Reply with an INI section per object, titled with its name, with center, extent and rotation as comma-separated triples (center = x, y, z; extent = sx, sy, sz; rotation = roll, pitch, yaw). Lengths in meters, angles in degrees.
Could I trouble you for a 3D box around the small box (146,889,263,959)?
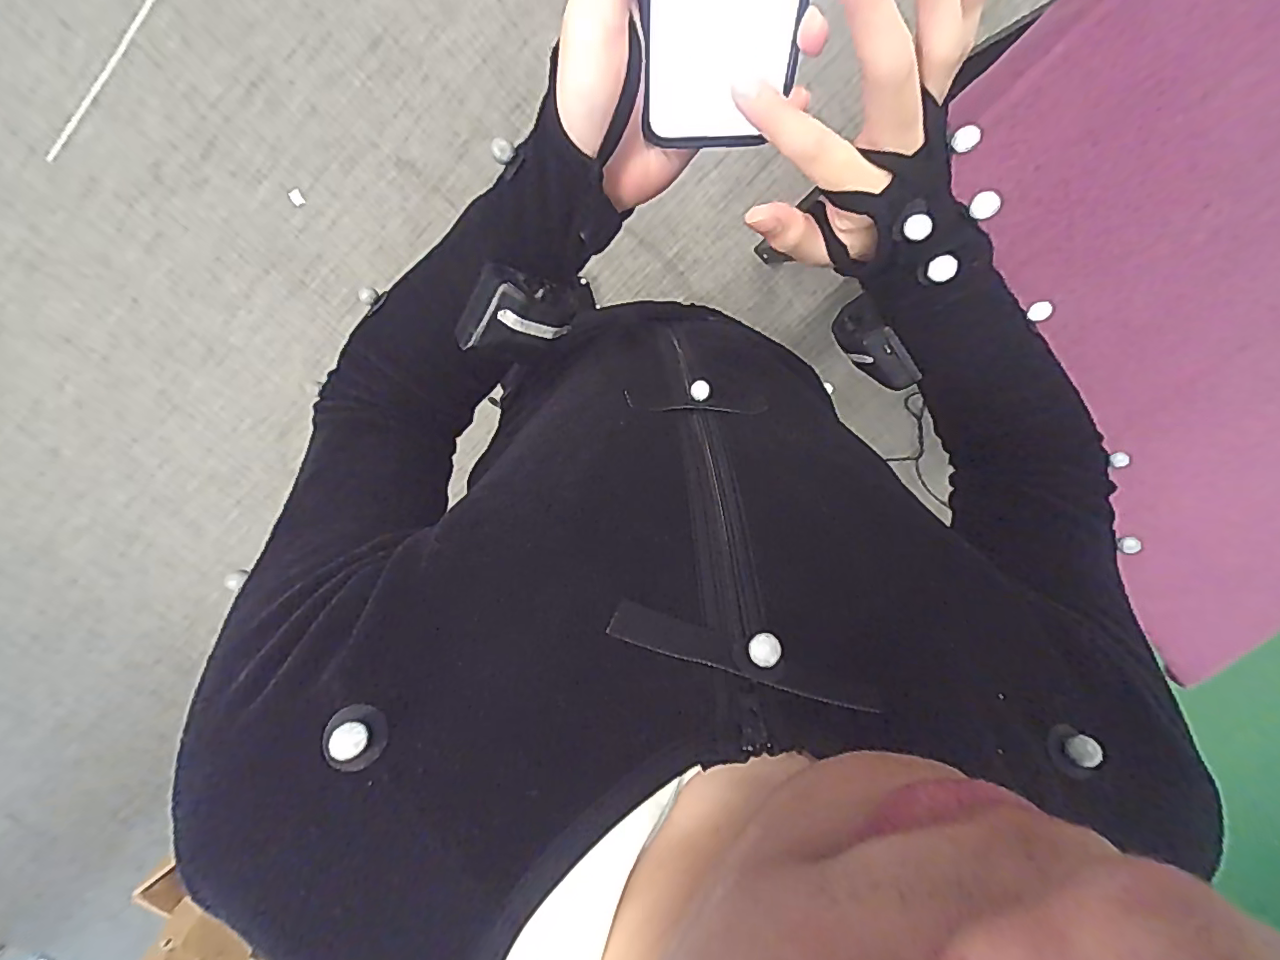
[small box]
center = -1.052, 1.132, 1.292
extent = 0.179, 0.176, 0.168
rotation = -36, 108, 9
